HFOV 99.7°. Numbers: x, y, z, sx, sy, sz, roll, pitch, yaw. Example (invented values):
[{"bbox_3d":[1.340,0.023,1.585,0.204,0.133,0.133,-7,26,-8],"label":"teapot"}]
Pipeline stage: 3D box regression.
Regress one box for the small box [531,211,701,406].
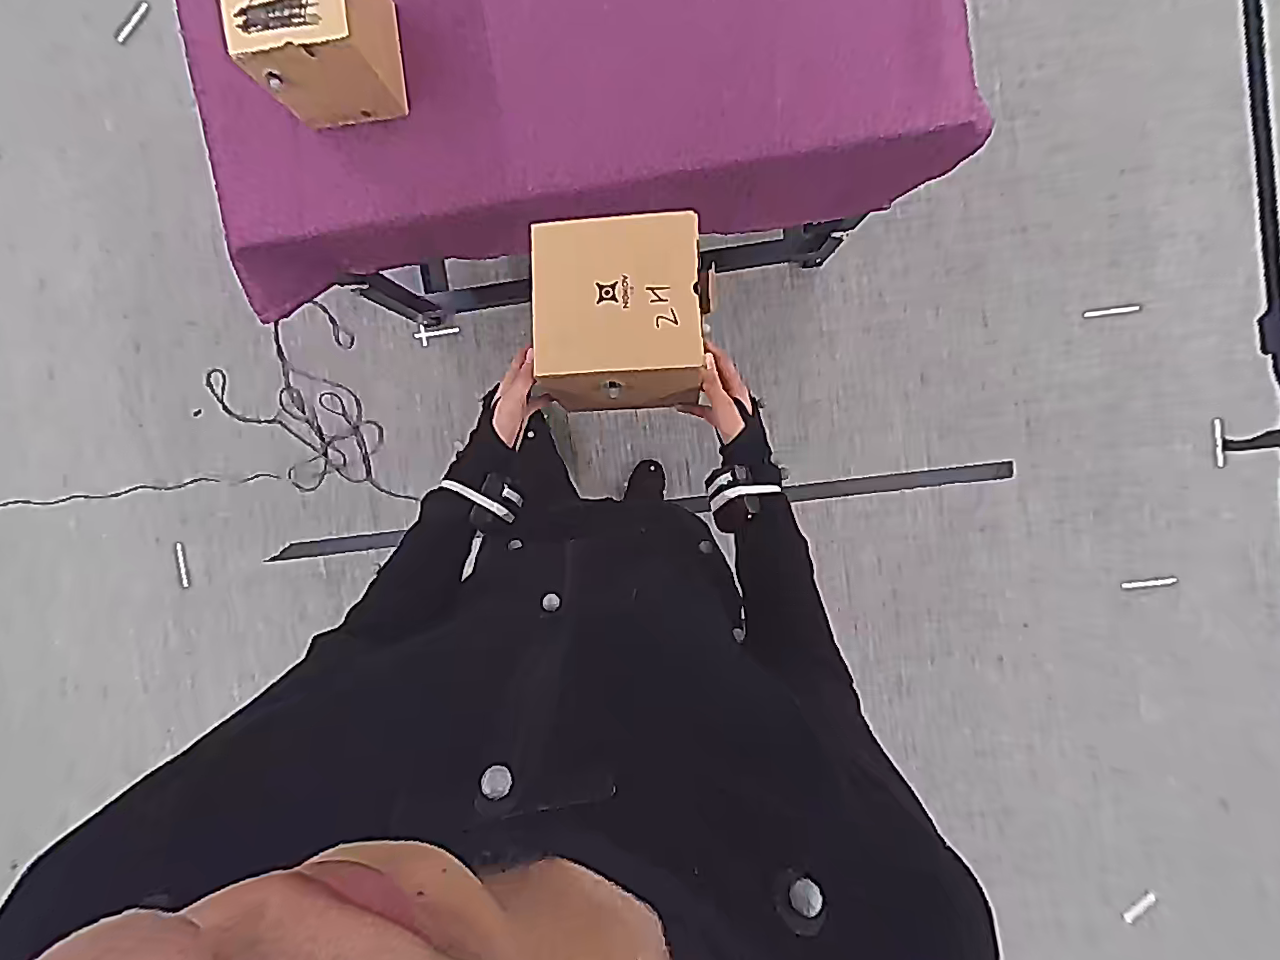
[{"bbox_3d":[-0.020,-0.186,0.635,0.179,0.176,0.168,-2,84,3],"label":"small box"}]
